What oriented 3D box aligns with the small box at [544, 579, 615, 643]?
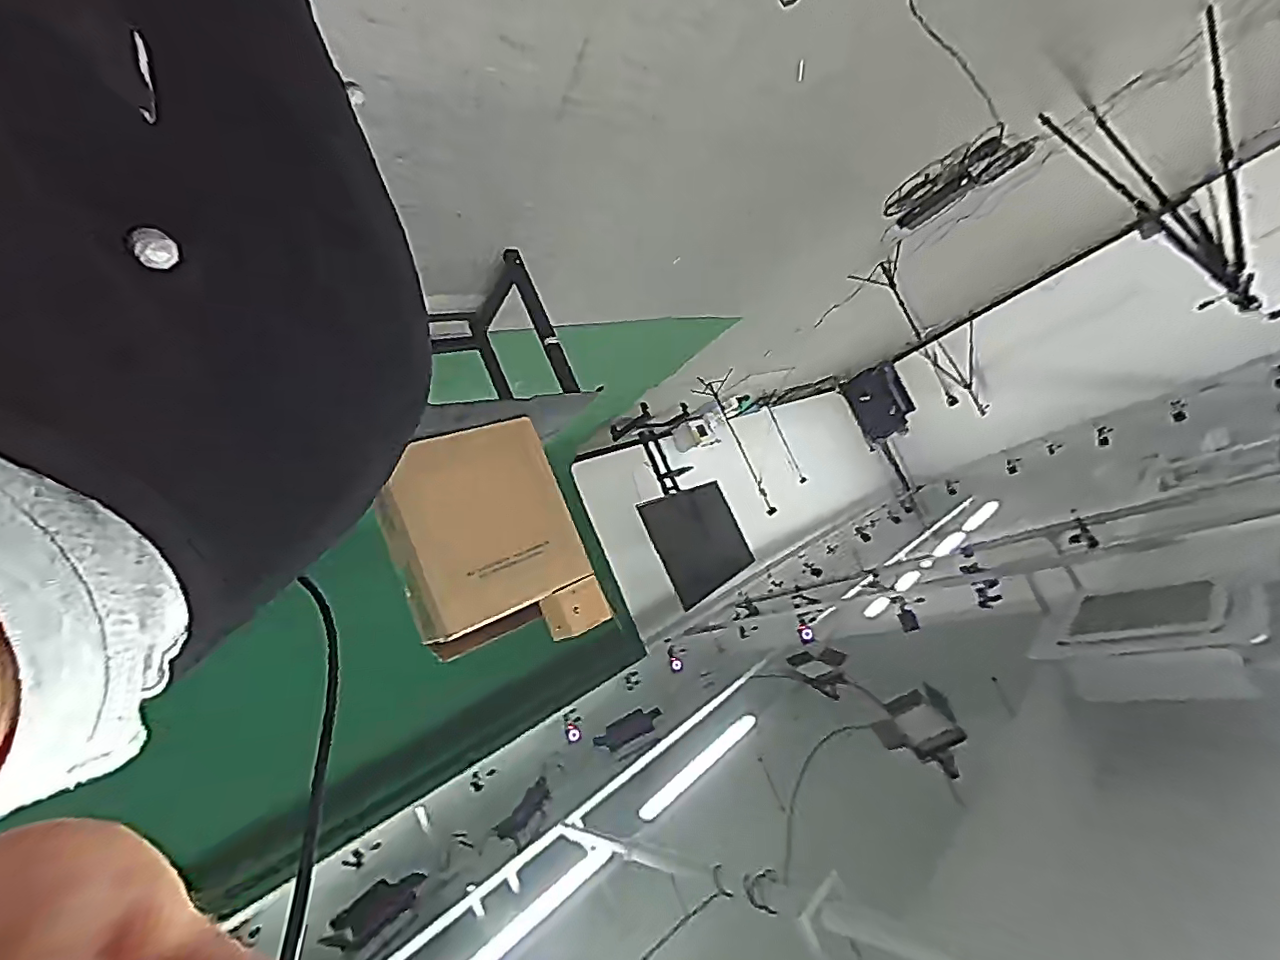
[{"bbox_3d":[-0.222,0.465,1.935,0.168,0.176,0.179,-19,173,-35],"label":"small box"}]
